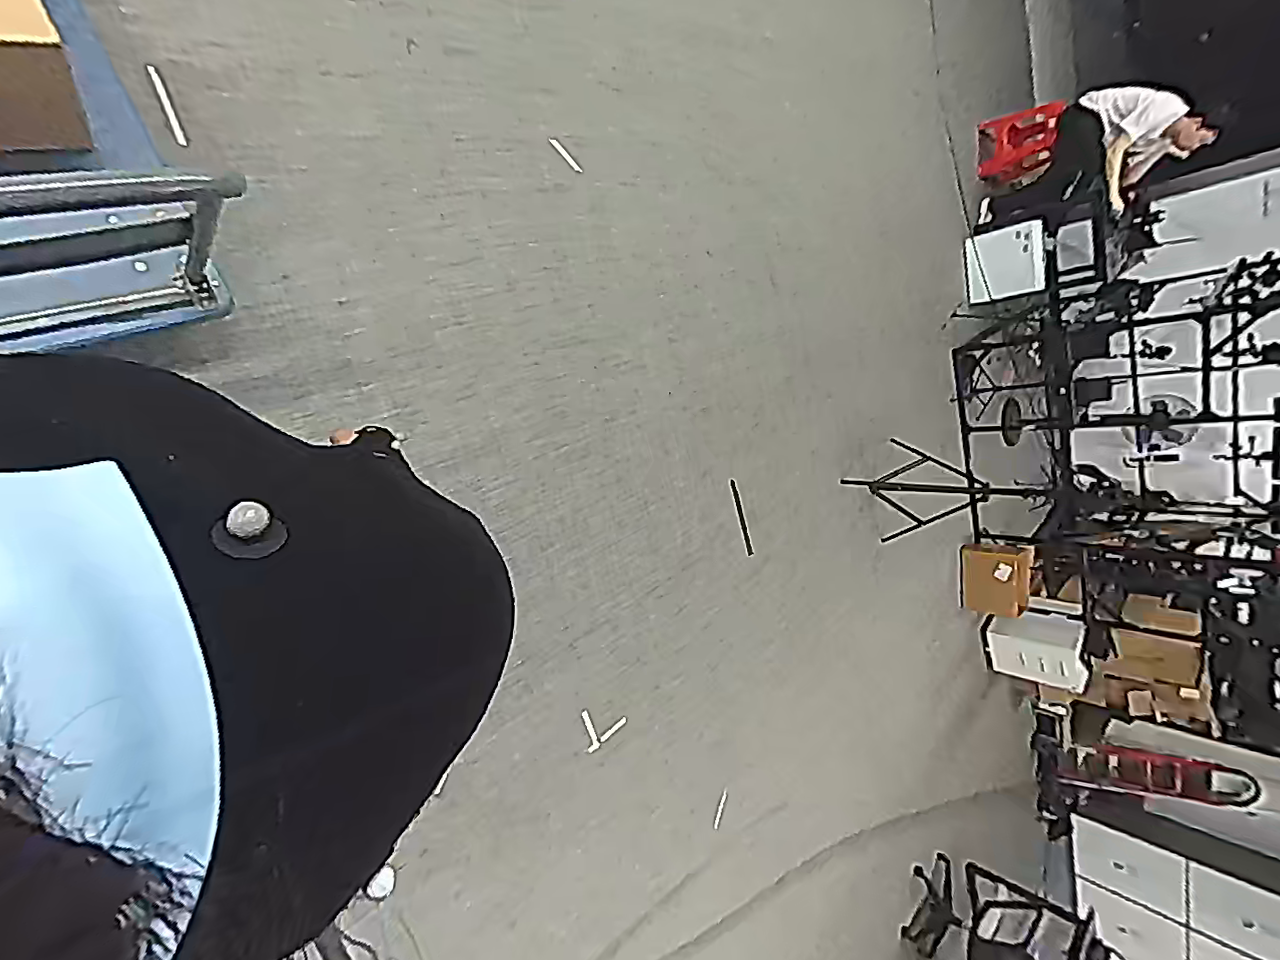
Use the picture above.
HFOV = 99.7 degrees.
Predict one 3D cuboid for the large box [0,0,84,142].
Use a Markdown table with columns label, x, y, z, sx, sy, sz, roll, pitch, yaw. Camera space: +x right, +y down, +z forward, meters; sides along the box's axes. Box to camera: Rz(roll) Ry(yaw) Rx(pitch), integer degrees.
| label | x | y | z | sx | sy | sz | roll | pitch | yaw |
| --- | --- | --- | --- | --- | --- | --- | --- | --- | --- |
| large box | -1.057 | -0.646 | 0.674 | 0.408 | 0.320 | 0.320 | -29 | 109 | -35 |
